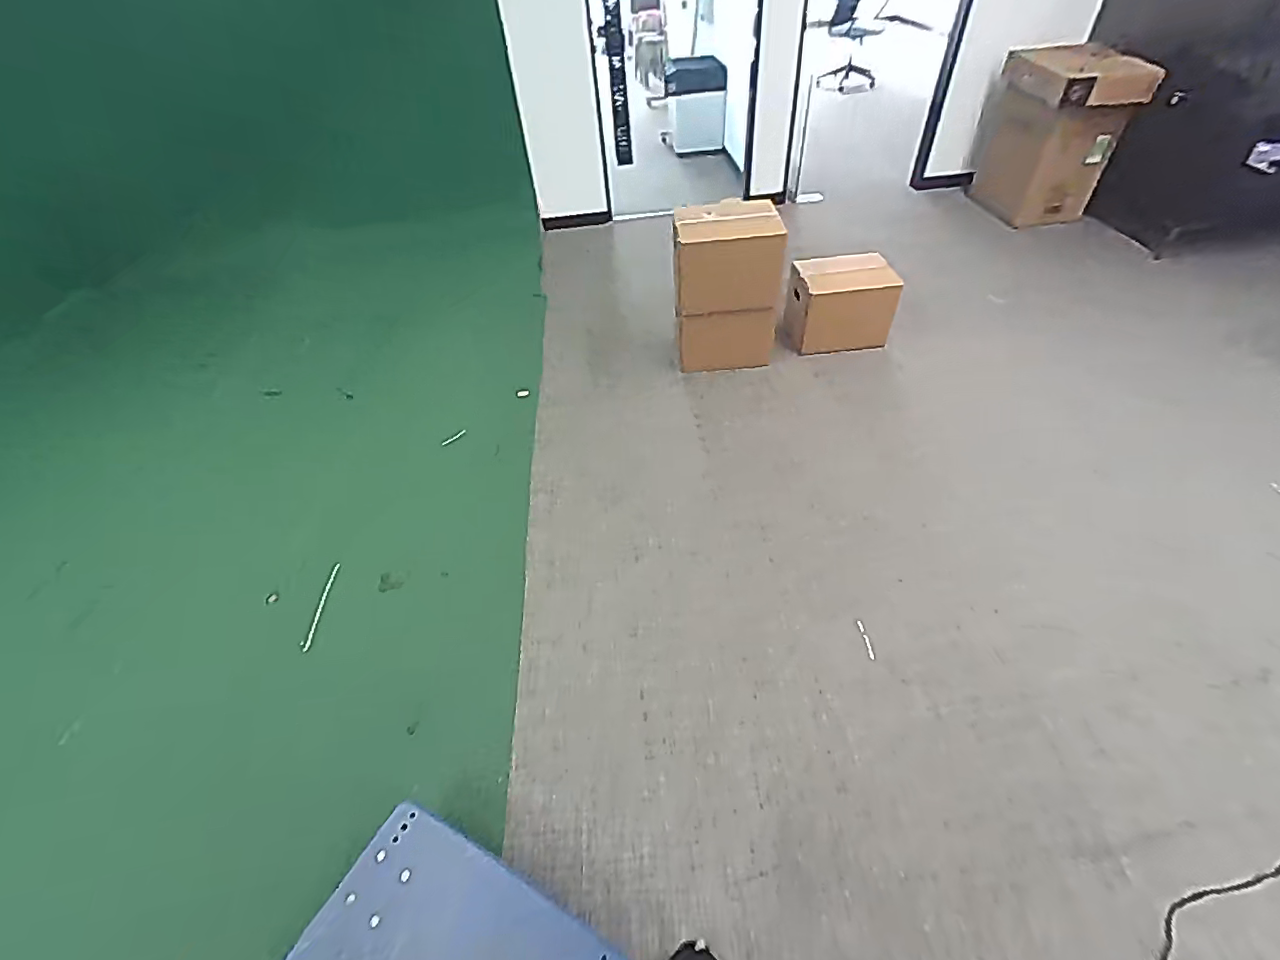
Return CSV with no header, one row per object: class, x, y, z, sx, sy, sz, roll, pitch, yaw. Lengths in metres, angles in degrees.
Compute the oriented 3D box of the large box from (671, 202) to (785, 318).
large box,0.344,-0.896,2.209,0.408,0.320,0.320,-5,49,2
